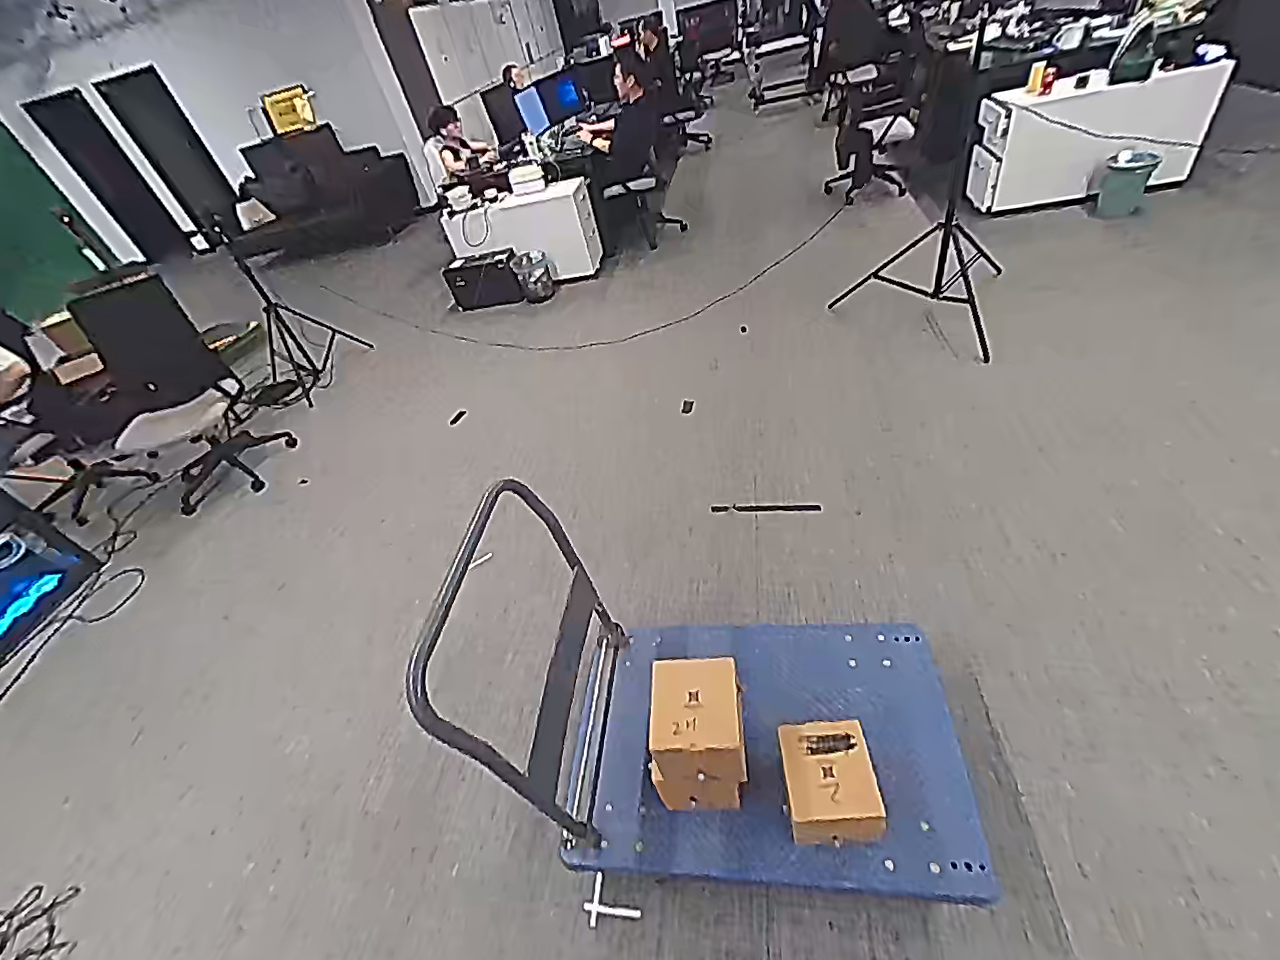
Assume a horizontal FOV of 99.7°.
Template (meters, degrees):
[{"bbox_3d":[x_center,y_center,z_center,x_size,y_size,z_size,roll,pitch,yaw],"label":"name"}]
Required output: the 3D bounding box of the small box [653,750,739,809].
[{"bbox_3d":[0.125,0.597,1.186,0.168,0.176,0.179,-6,43,10],"label":"small box"}]

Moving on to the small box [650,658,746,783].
[{"bbox_3d":[0.118,0.476,1.072,0.168,0.176,0.179,-6,43,11],"label":"small box"}]
